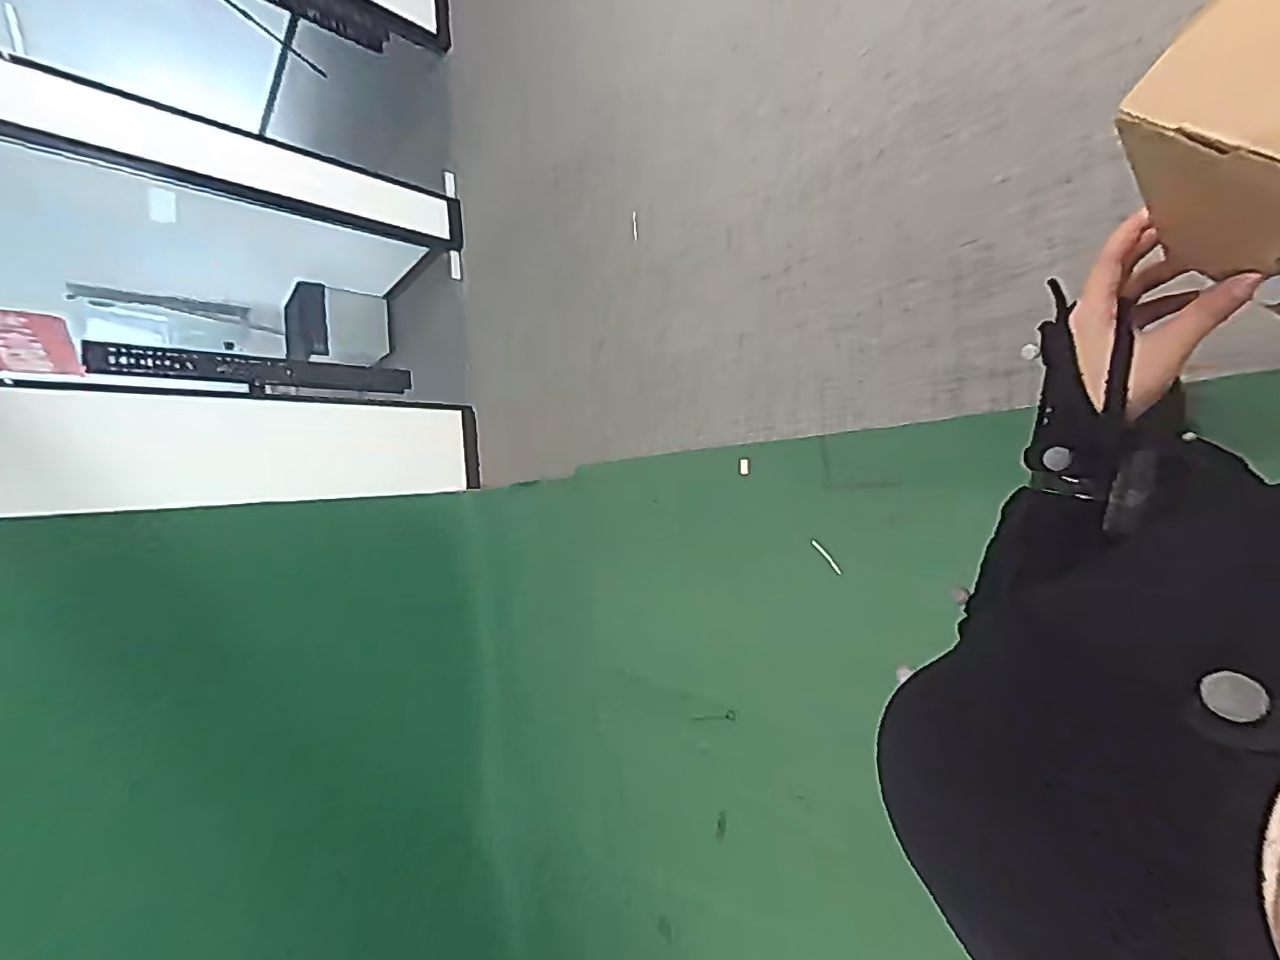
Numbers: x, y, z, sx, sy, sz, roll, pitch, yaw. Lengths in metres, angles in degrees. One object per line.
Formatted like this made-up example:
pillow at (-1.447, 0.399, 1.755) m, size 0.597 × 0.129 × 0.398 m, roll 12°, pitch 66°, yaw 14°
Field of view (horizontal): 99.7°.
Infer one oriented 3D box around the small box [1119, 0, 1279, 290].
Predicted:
small box at (0.369, -0.167, 0.223) m, size 0.179 × 0.176 × 0.168 m, roll -53°, pitch 45°, yaw 29°
